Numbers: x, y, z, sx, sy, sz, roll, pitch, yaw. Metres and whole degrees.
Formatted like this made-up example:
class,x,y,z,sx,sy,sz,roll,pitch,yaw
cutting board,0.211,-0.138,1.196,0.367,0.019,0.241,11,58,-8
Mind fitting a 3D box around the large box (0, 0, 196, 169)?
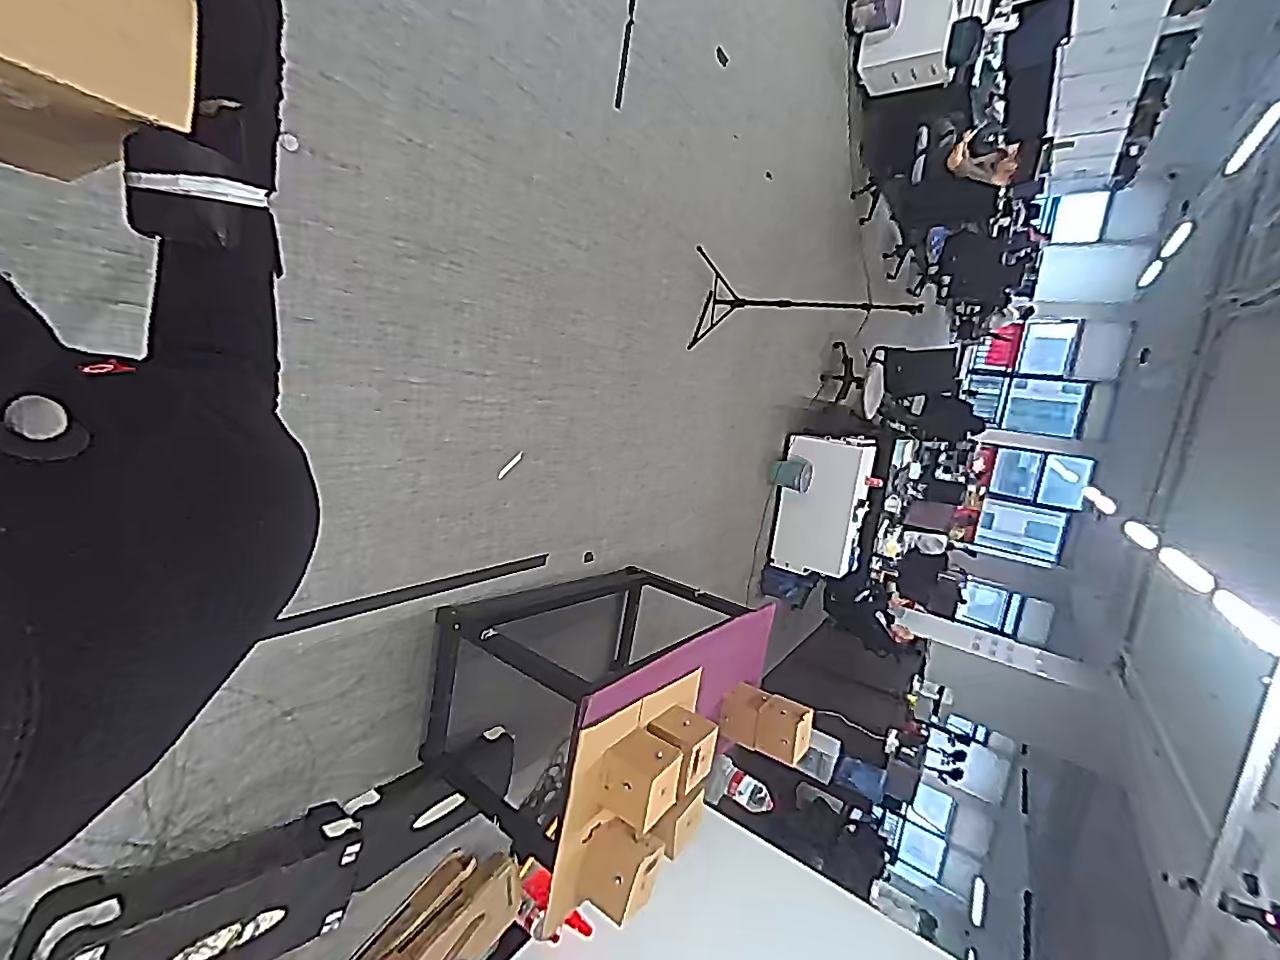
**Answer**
class,x,y,z,sx,sy,sz,roll,pitch,yaw
large box,-0.510,-0.408,0.255,0.408,0.320,0.320,-2,104,-57
